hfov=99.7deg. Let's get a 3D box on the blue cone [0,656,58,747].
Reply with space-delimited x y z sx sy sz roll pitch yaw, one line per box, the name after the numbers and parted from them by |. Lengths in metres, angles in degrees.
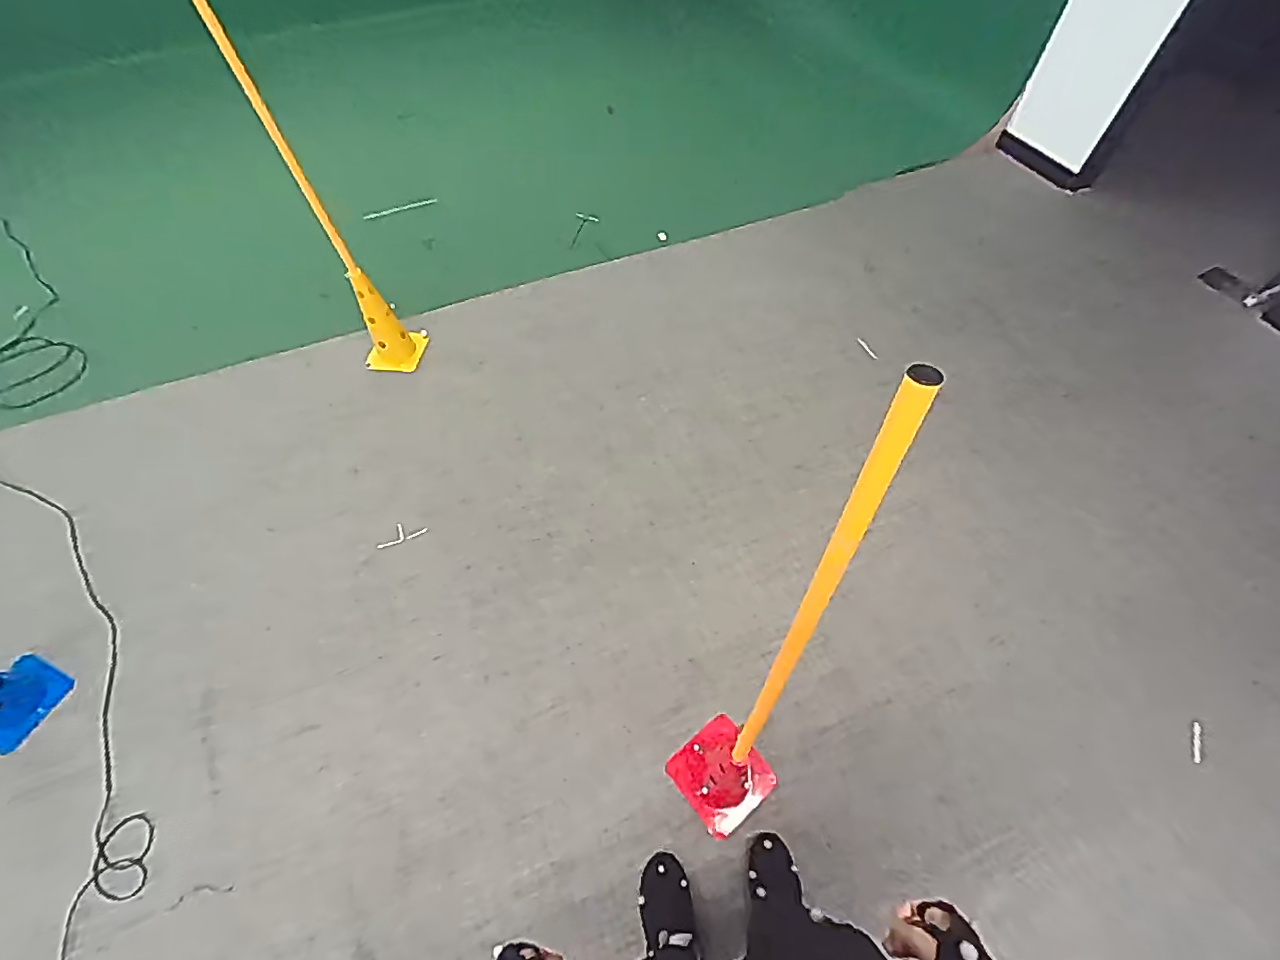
-1.626 0.487 1.245 0.192 0.380 0.193 19 62 12 | blue cone
